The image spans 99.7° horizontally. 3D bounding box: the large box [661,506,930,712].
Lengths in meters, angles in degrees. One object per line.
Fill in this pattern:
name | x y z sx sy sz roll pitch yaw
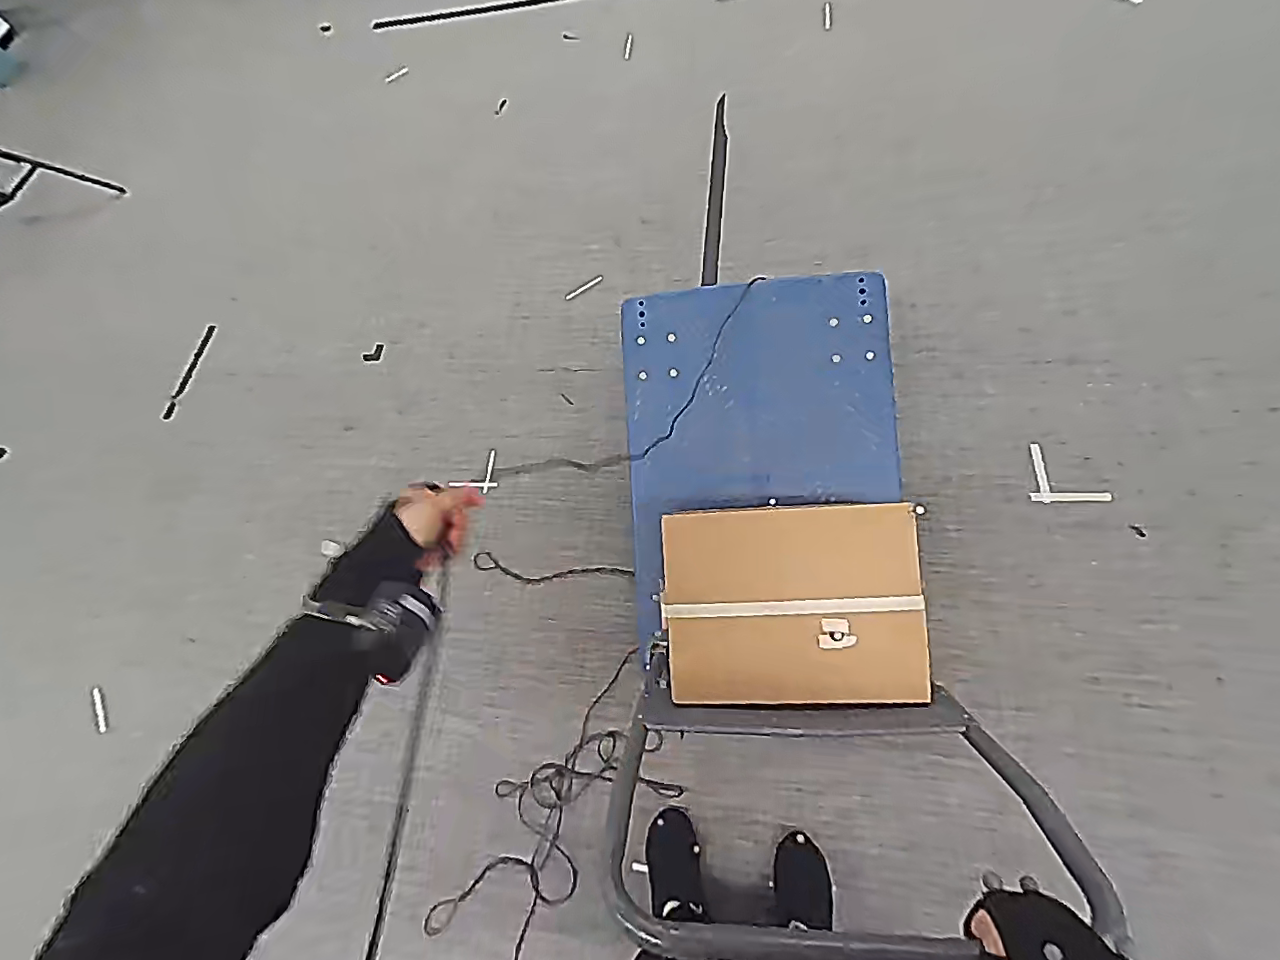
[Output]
large box | 0.260 0.218 1.014 0.408 0.320 0.320 -4 88 7
